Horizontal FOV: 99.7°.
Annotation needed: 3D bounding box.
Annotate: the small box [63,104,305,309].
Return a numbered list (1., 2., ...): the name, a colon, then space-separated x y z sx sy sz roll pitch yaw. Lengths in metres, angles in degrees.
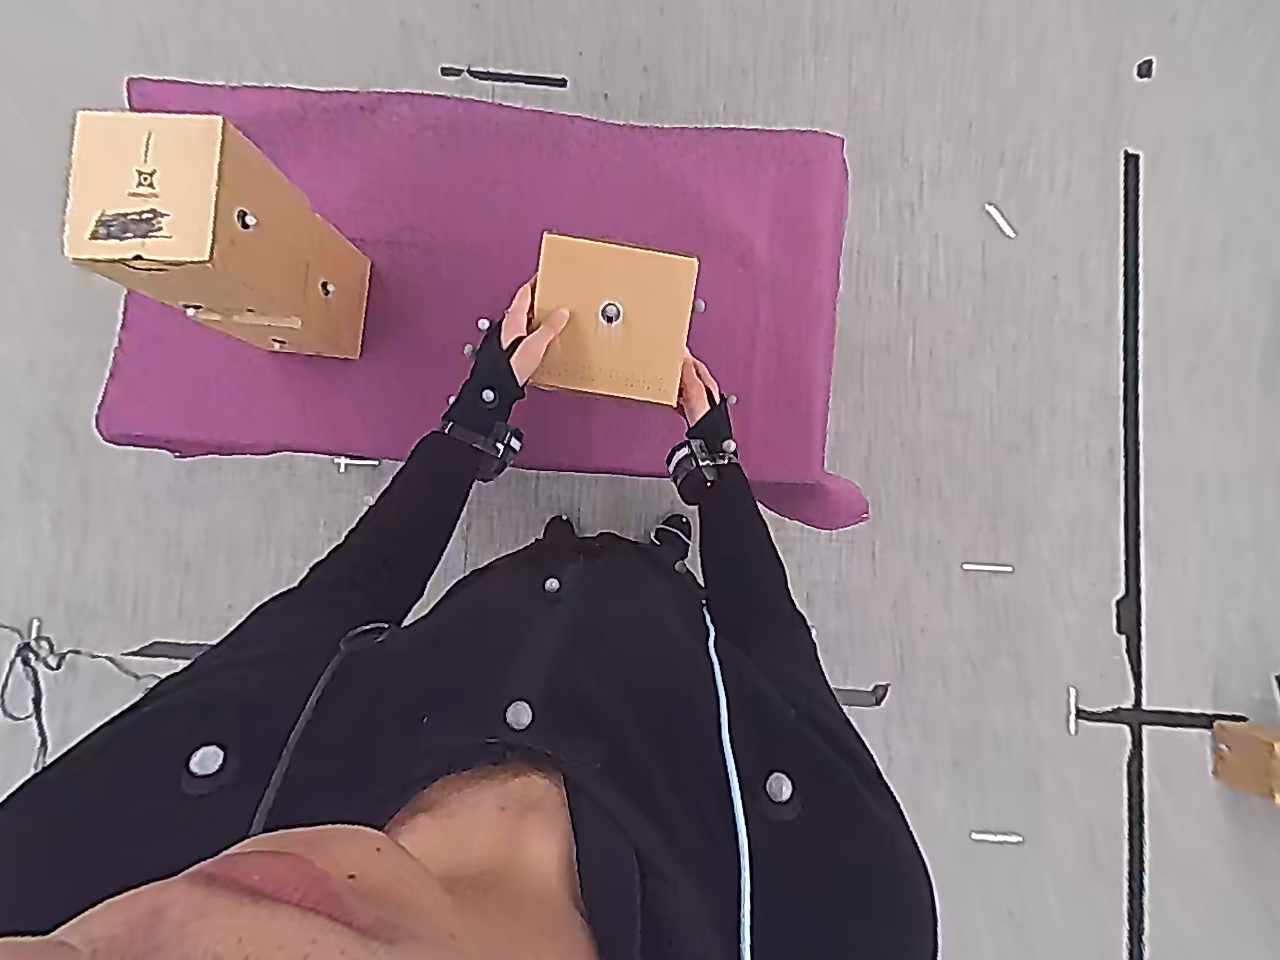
1. small box: -0.554 -0.328 0.682 0.168 0.176 0.179 2 87 -1

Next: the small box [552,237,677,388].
1. small box: -0.036 -0.252 0.854 0.168 0.176 0.179 6 87 0

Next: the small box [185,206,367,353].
1. small box: -0.553 -0.309 0.845 0.168 0.176 0.179 6 88 -1
